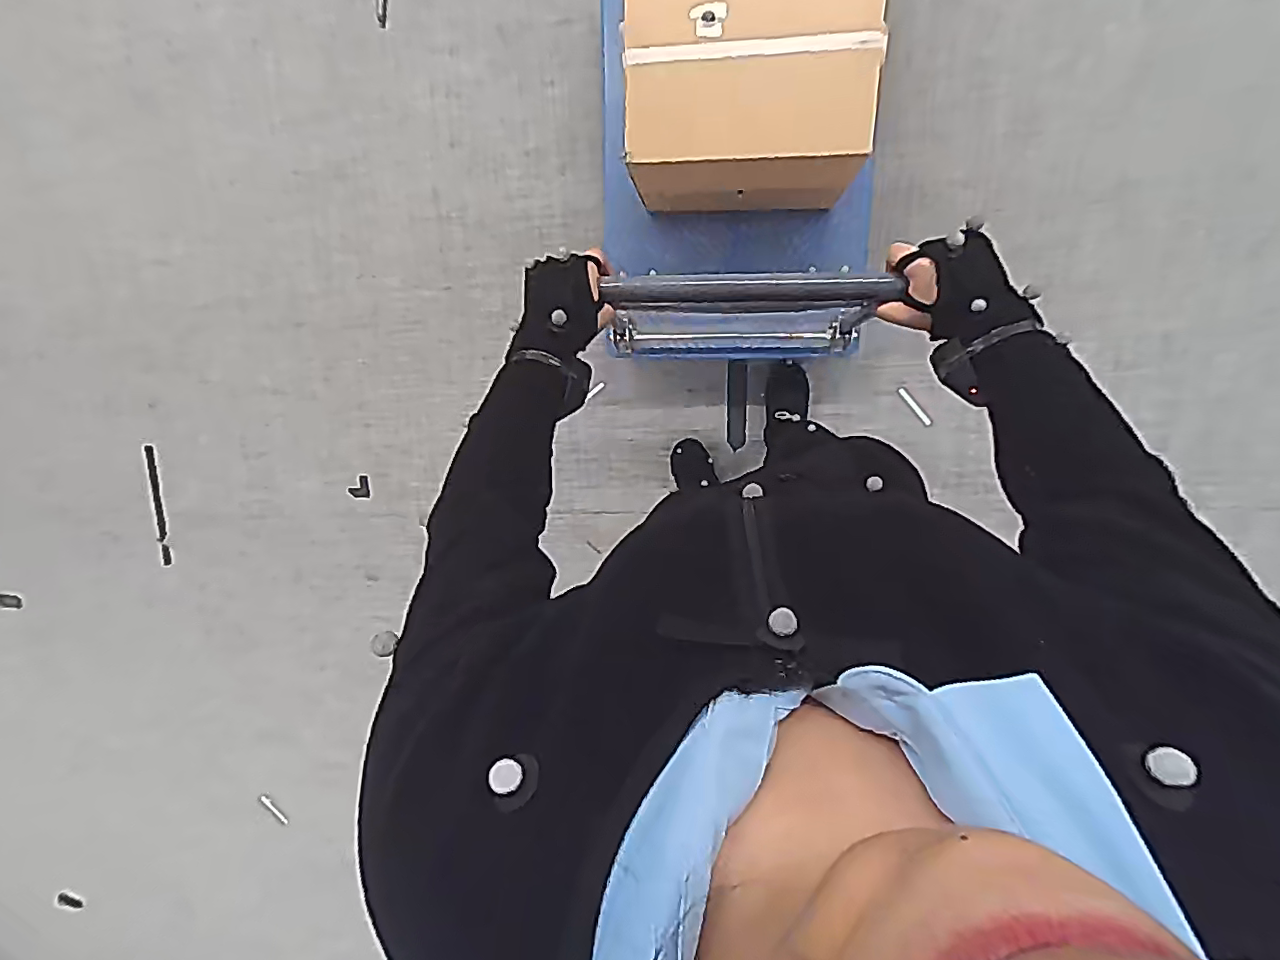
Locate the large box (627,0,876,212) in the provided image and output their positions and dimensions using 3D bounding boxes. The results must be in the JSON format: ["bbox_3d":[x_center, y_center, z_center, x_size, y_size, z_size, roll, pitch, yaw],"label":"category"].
[{"bbox_3d":[0.199,-0.721,1.030,0.408,0.320,0.320,2,101,9],"label":"large box"}]
